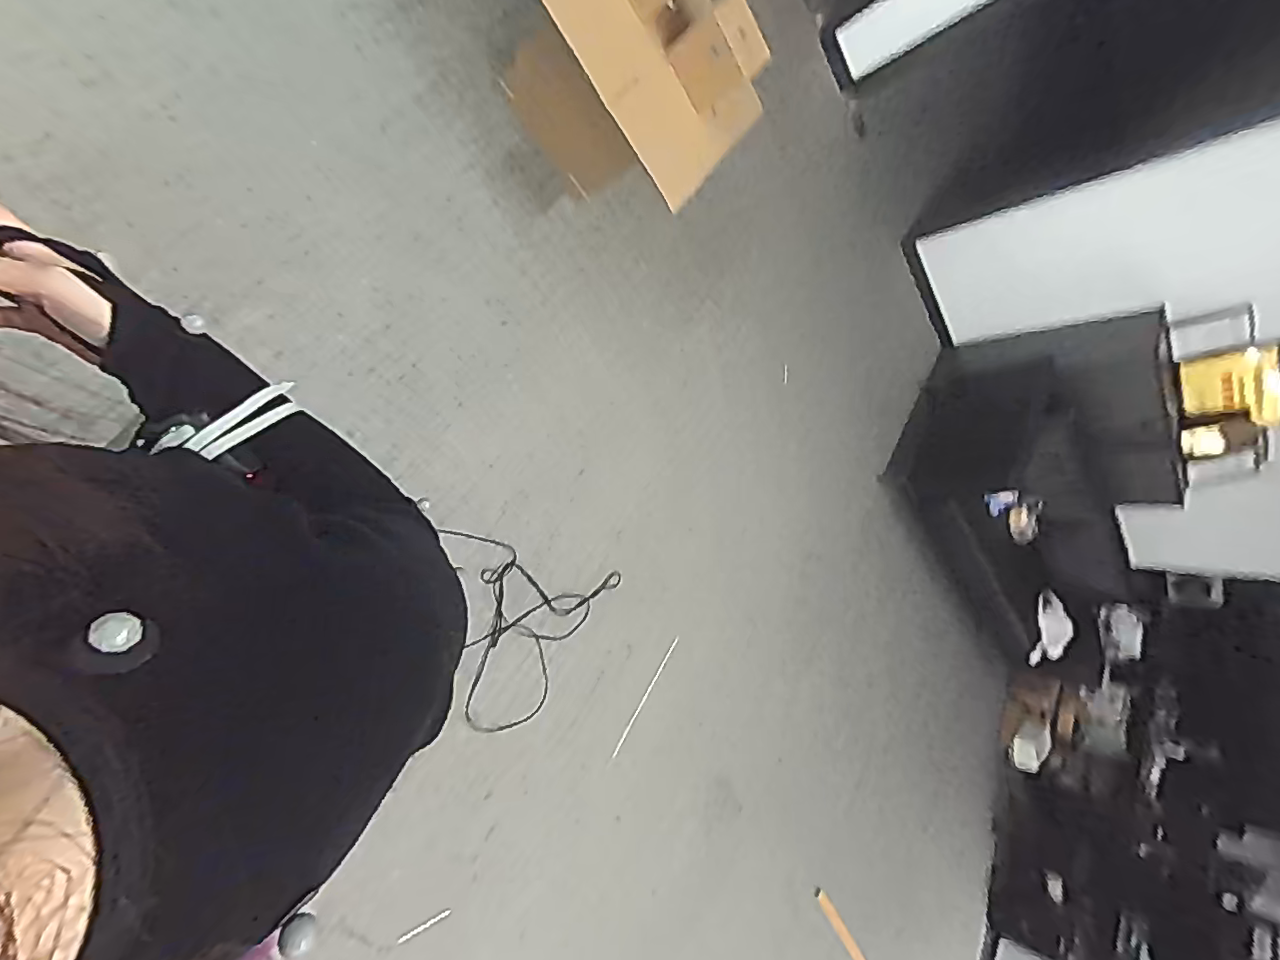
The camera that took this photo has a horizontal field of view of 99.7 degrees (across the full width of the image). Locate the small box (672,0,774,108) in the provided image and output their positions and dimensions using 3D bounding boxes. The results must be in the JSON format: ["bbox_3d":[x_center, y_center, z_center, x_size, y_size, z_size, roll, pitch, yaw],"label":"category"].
[{"bbox_3d":[0.217,-1.140,1.430,0.179,0.176,0.168,50,61,-26],"label":"small box"}]

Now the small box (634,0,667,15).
[{"bbox_3d":[0.056,-1.284,1.297,0.168,0.176,0.179,47,61,-29],"label":"small box"}]
